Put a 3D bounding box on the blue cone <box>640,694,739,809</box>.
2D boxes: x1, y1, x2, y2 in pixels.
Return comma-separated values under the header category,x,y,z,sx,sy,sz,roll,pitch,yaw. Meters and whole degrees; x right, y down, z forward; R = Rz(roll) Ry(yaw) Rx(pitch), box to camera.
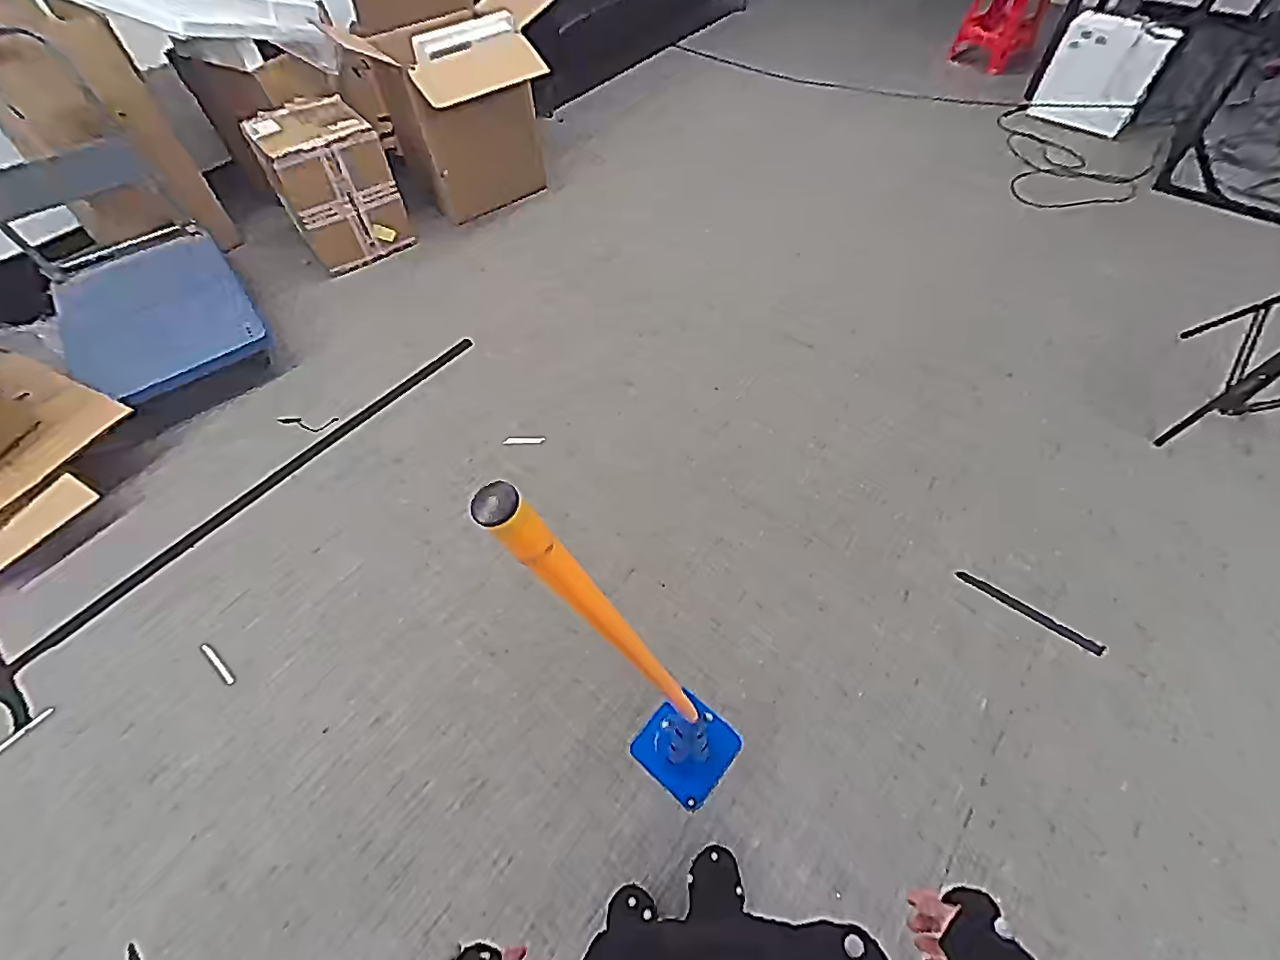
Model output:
category,x,y,z,sx,sy,sz,roll,pitch,yaw
blue cone,0.110,0.532,1.121,0.192,0.380,0.193,37,65,23
